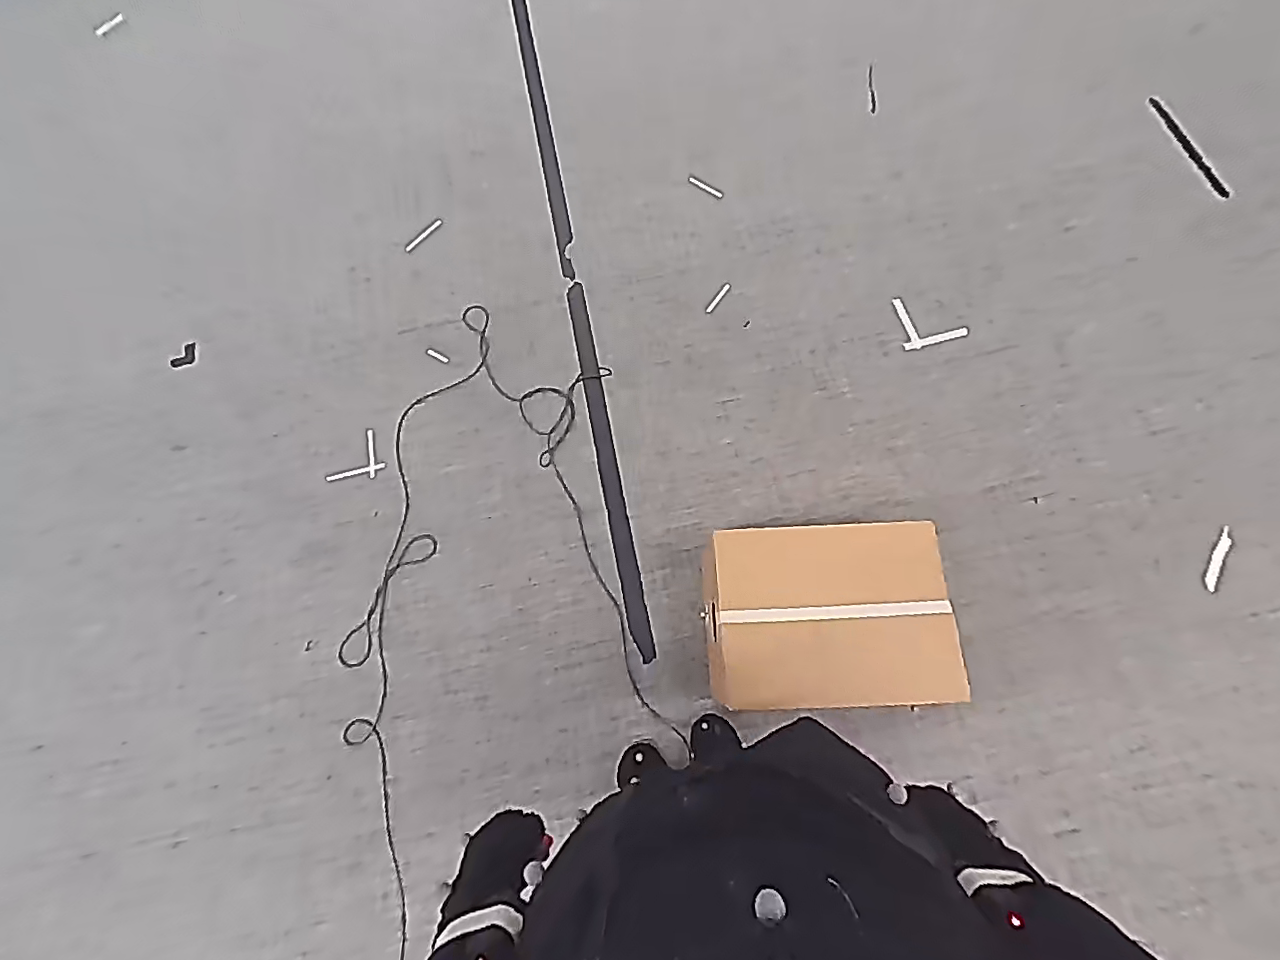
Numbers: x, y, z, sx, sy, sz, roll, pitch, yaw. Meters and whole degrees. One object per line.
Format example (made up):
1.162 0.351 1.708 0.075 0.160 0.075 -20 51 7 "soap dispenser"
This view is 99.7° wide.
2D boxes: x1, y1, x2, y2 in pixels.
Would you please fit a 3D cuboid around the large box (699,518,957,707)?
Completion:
0.338 0.273 1.099 0.408 0.320 0.320 -3 71 2 "large box"
